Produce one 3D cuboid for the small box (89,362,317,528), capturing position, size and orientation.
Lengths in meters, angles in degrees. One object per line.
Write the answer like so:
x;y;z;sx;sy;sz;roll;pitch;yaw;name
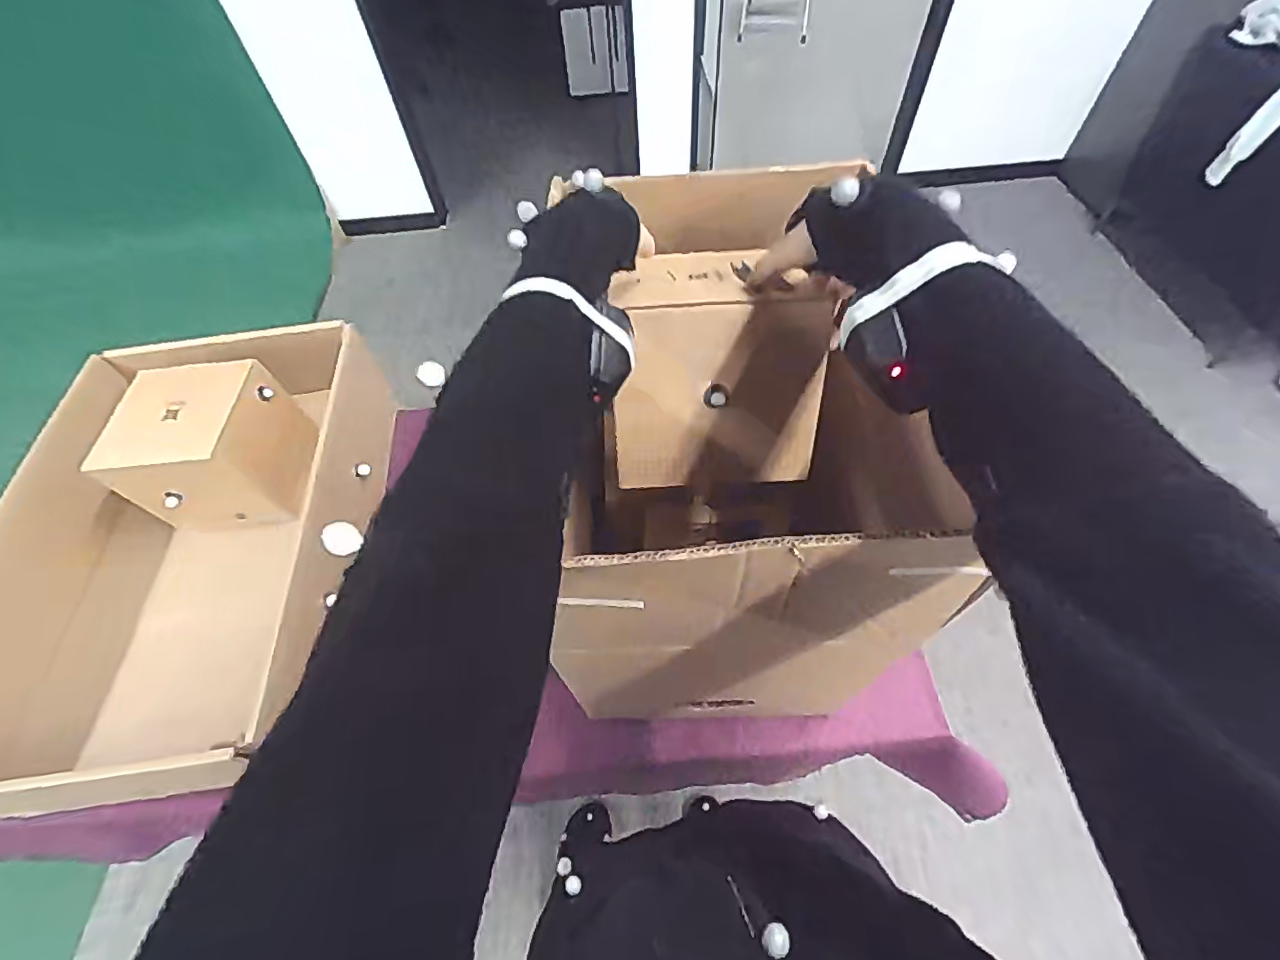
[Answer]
-0.604;-0.041;0.779;0.168;0.176;0.179;-6;57;1;small box
